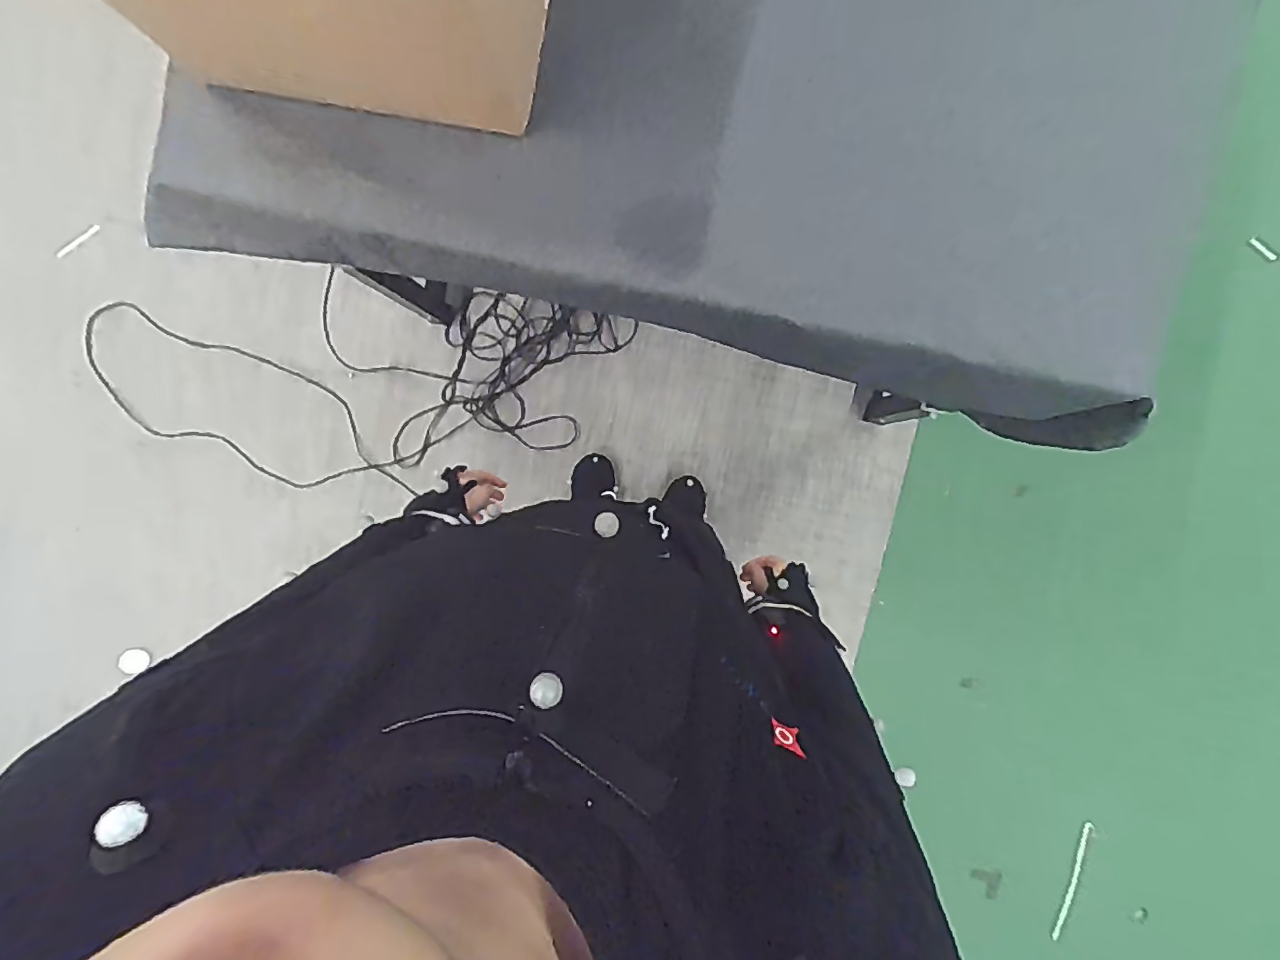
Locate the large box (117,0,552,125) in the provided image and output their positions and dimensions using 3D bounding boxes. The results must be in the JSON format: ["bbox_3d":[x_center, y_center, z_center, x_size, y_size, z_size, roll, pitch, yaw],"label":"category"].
[{"bbox_3d":[-0.299,-0.587,0.484,0.408,0.320,0.320,10,93,0],"label":"large box"}]
